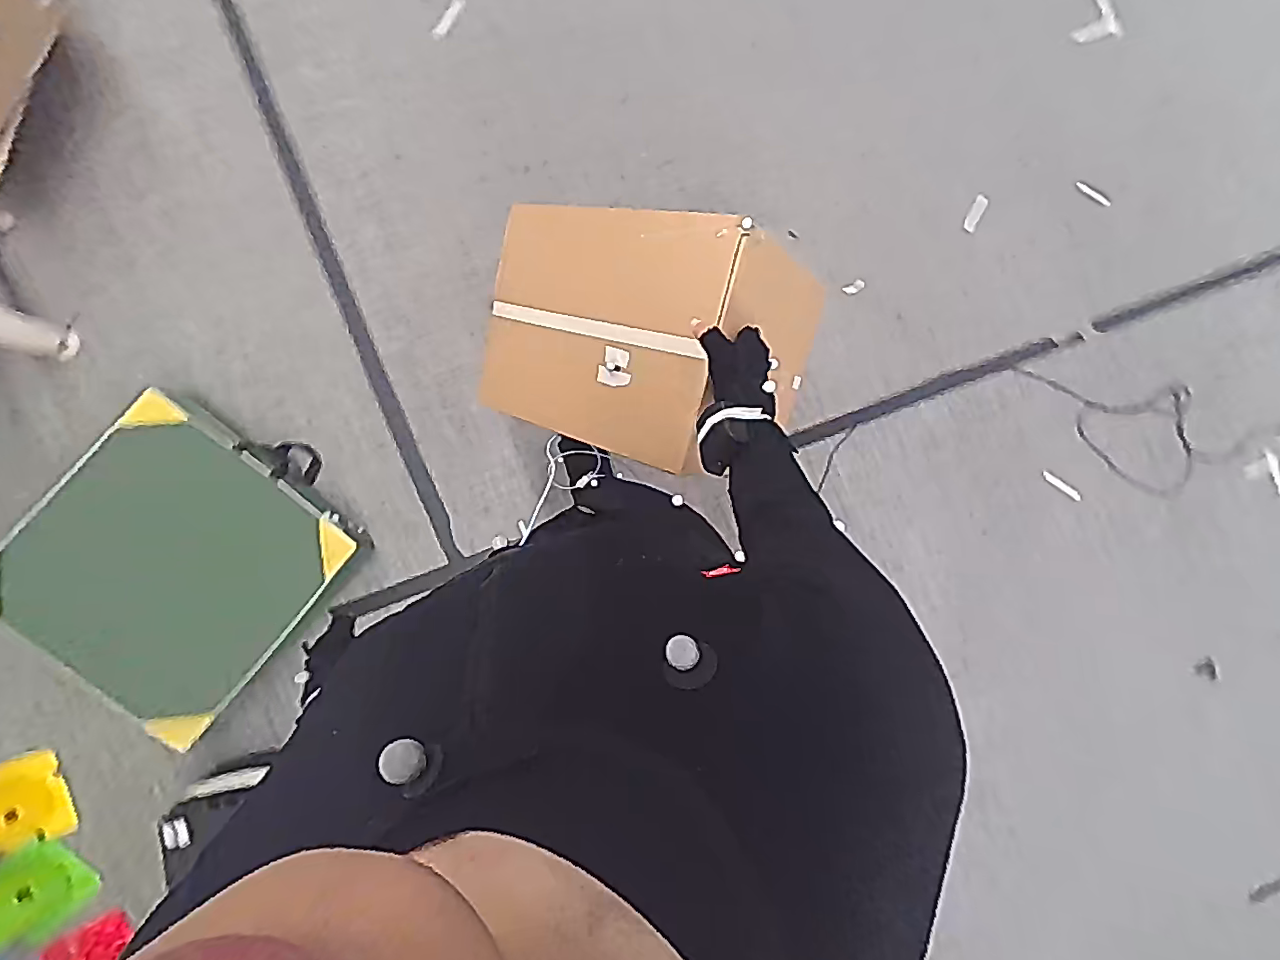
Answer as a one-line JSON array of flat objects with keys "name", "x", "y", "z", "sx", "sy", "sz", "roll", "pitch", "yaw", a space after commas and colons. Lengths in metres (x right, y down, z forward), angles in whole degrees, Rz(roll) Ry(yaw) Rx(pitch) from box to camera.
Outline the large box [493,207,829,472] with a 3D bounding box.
[{"name": "large box", "x": 0.032, "y": -0.218, "z": 0.887, "sx": 0.408, "sy": 0.320, "sz": 0.320, "roll": 23, "pitch": 104, "yaw": 32}]
